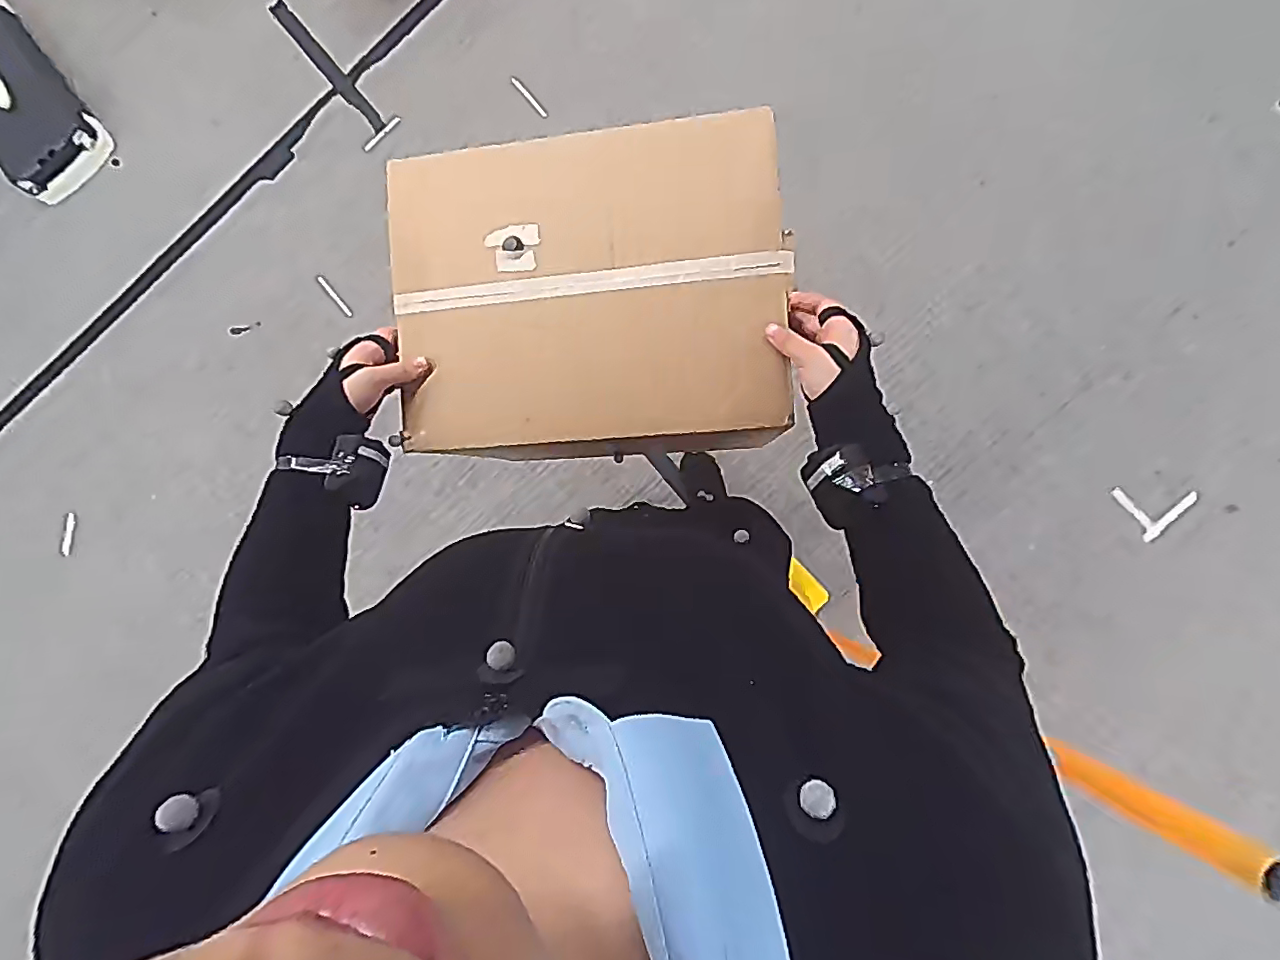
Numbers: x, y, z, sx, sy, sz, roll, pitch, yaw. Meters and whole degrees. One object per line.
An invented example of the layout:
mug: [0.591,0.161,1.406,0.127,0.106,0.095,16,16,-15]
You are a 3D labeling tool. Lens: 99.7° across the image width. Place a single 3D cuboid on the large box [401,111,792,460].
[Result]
large box: [-0.033,-0.198,0.707,0.408,0.320,0.320,-4,88,9]
